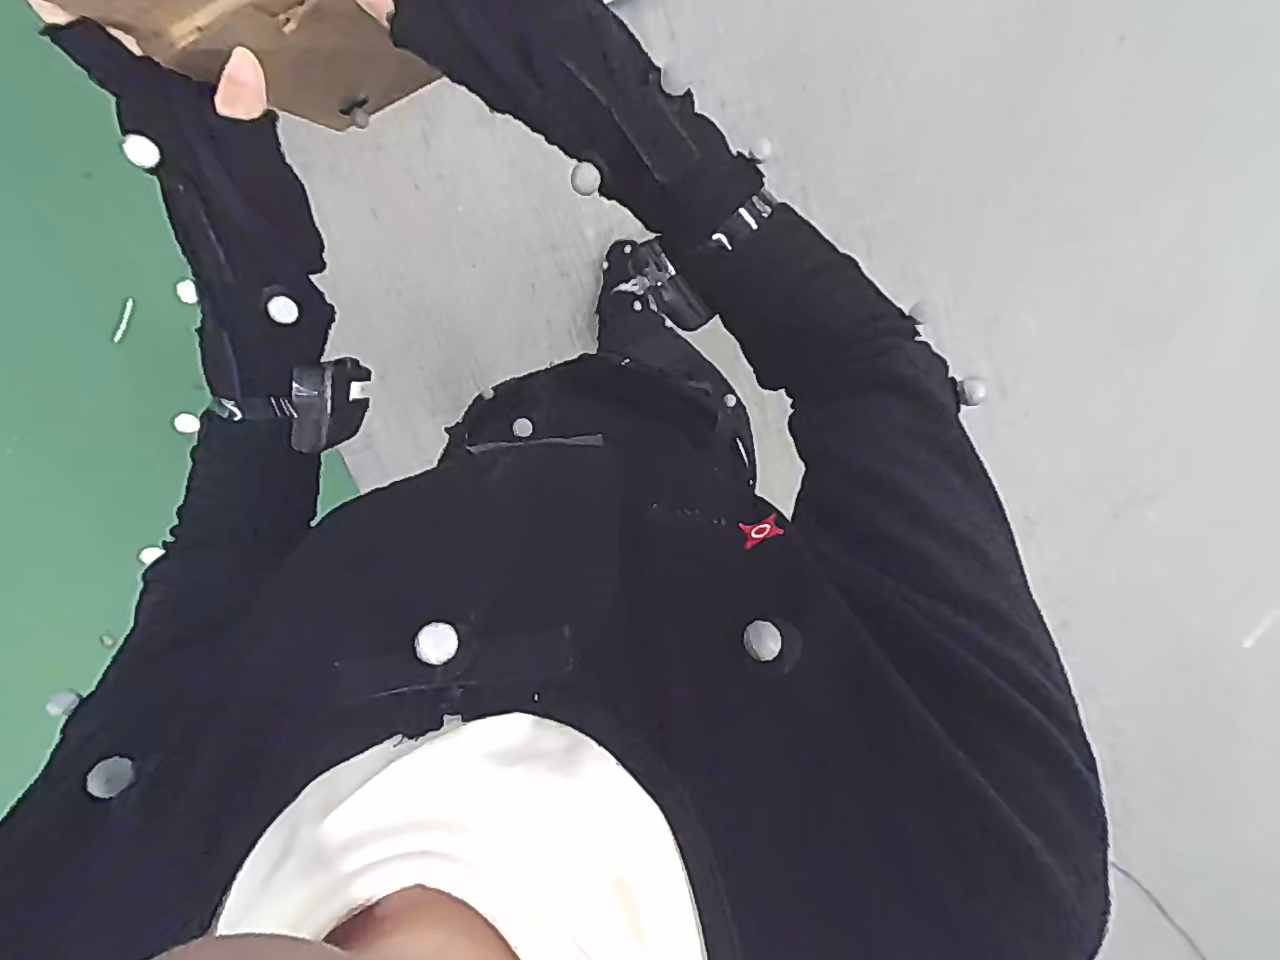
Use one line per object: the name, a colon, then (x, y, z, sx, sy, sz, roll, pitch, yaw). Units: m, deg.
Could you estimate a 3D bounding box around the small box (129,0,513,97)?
small box: (-0.194, -0.350, 0.301, 0.168, 0.176, 0.179, -19, 108, 11)
